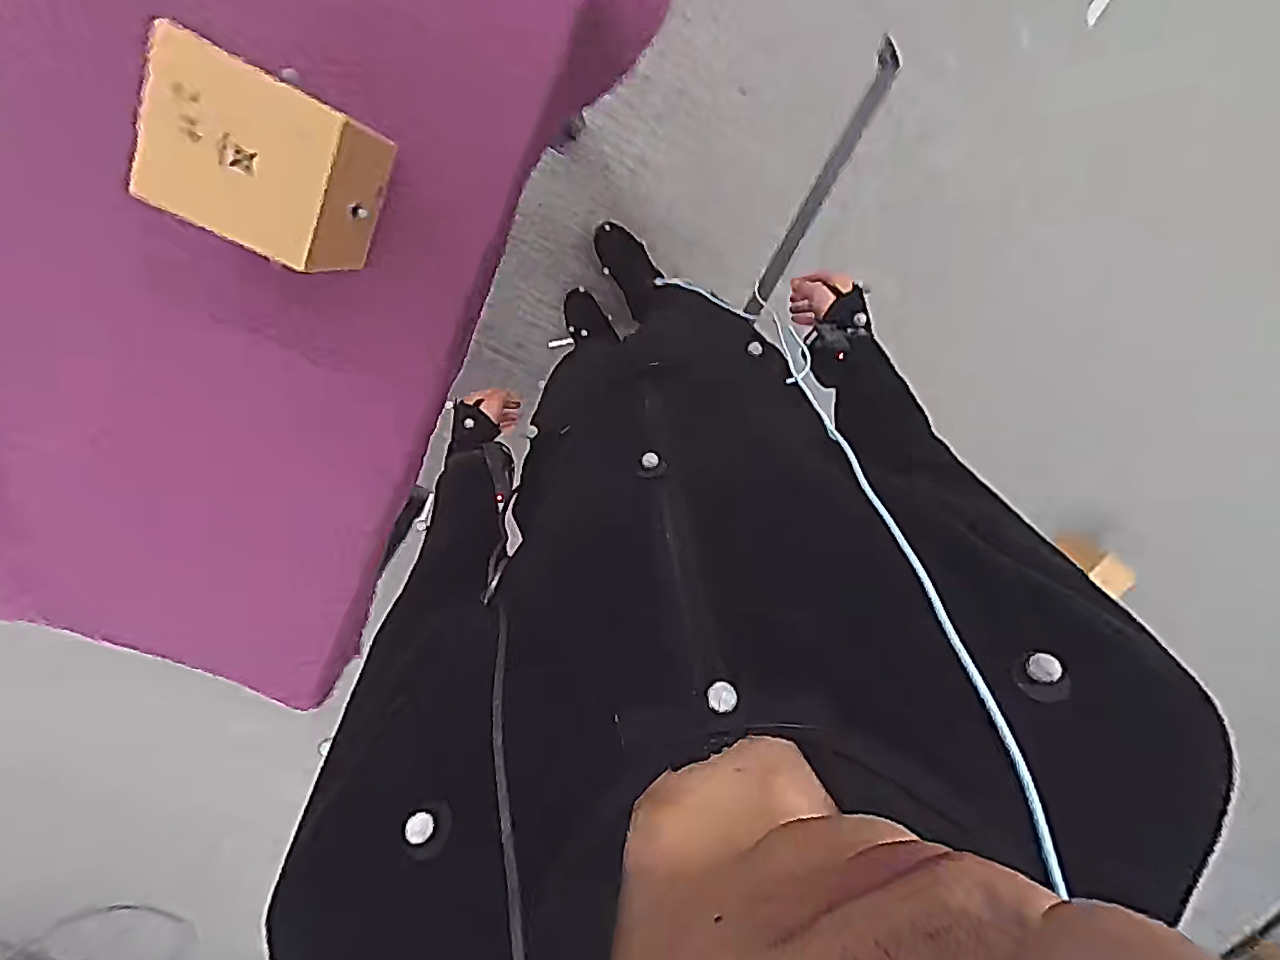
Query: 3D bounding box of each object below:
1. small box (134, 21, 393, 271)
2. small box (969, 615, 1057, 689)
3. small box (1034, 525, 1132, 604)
[{"bbox_3d":[-0.413,-0.363,0.623,0.179,0.176,0.168,24,109,-14],"label":"small box"},{"bbox_3d":[1.370,0.632,2.003,0.168,0.176,0.179,21,110,-13],"label":"small box"},{"bbox_3d":[1.522,0.289,1.875,0.168,0.176,0.179,30,106,-16],"label":"small box"}]
